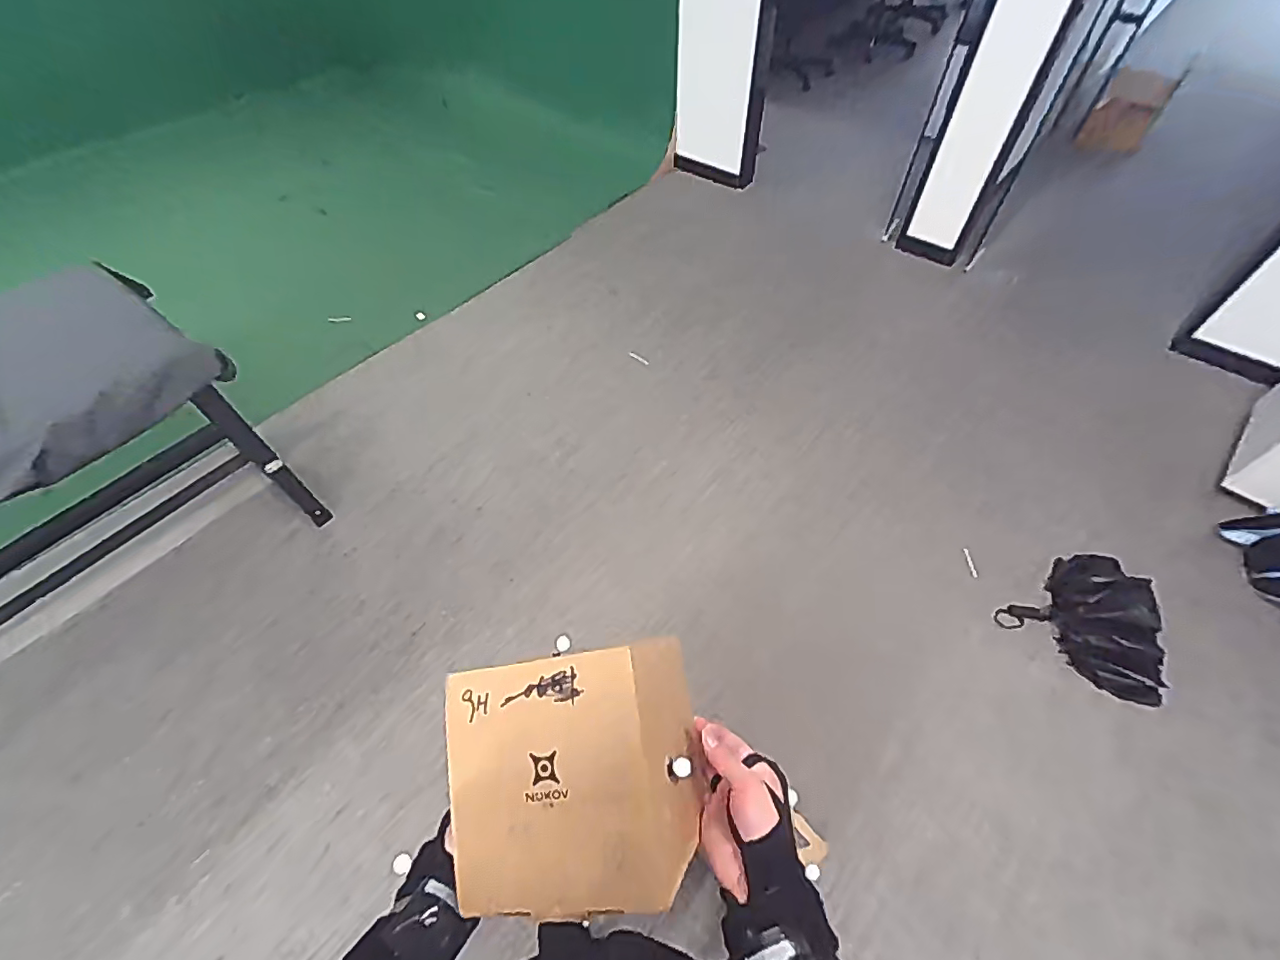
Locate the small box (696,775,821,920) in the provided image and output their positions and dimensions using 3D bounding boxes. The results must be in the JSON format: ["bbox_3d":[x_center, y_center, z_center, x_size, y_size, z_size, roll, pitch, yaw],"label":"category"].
[{"bbox_3d":[0.227,0.734,1.088,0.179,0.176,0.168,-32,58,-20],"label":"small box"}]

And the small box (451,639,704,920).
[{"bbox_3d":[-0.046,0.251,0.489,0.168,0.176,0.179,-13,76,13],"label":"small box"}]

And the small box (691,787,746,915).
[{"bbox_3d":[0.228,0.832,1.221,0.179,0.176,0.168,-33,59,-20],"label":"small box"}]
